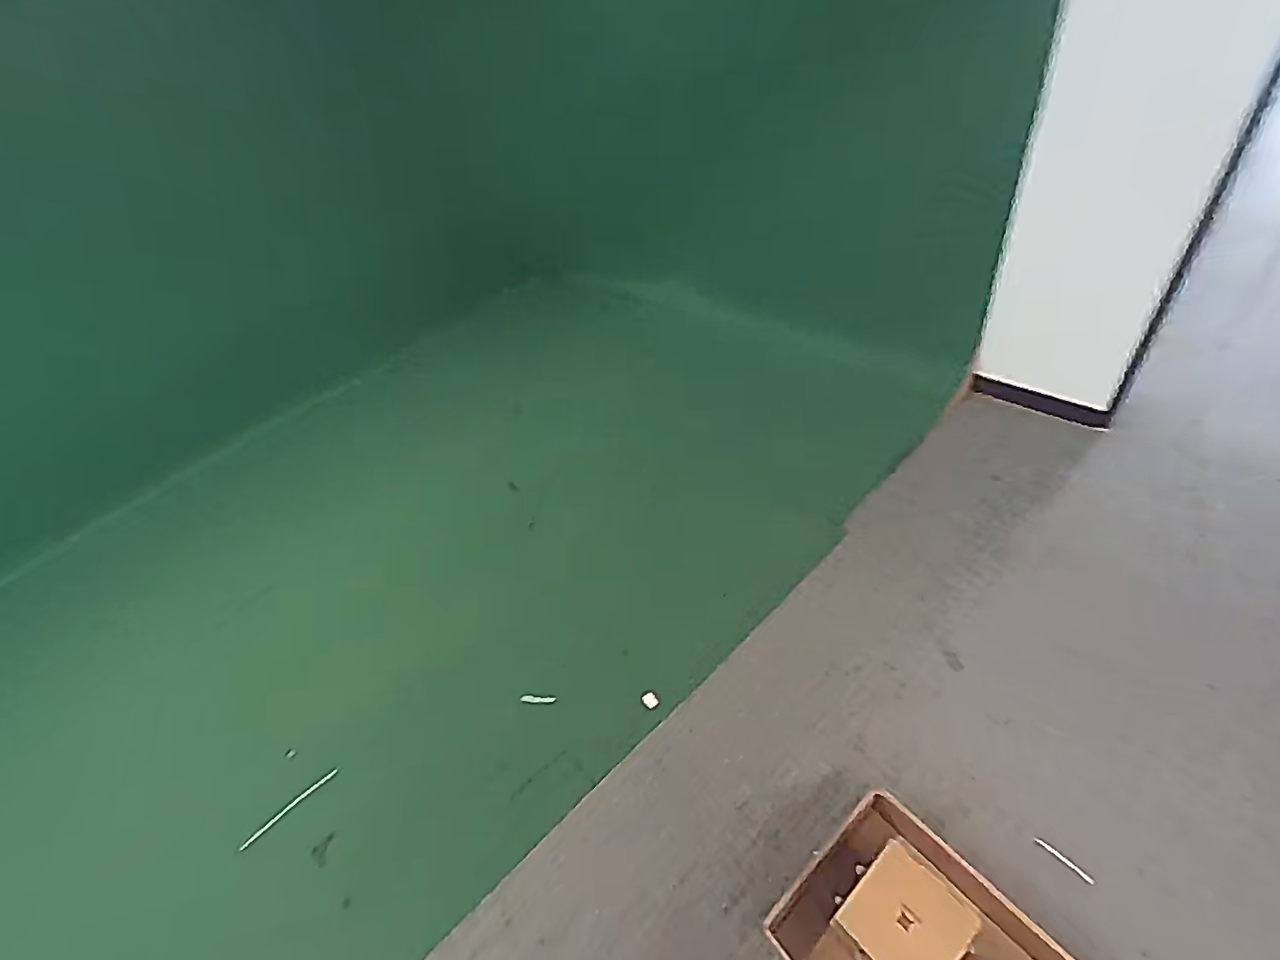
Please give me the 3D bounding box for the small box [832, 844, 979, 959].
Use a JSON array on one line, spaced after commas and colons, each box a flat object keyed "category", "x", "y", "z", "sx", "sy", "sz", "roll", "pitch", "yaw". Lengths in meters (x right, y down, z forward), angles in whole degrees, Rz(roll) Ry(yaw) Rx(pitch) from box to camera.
[{"category": "small box", "x": 0.466, "y": 0.809, "z": 0.970, "sx": 0.179, "sy": 0.176, "sz": 0.168, "roll": -38, "pitch": 48, "yaw": -20}]
